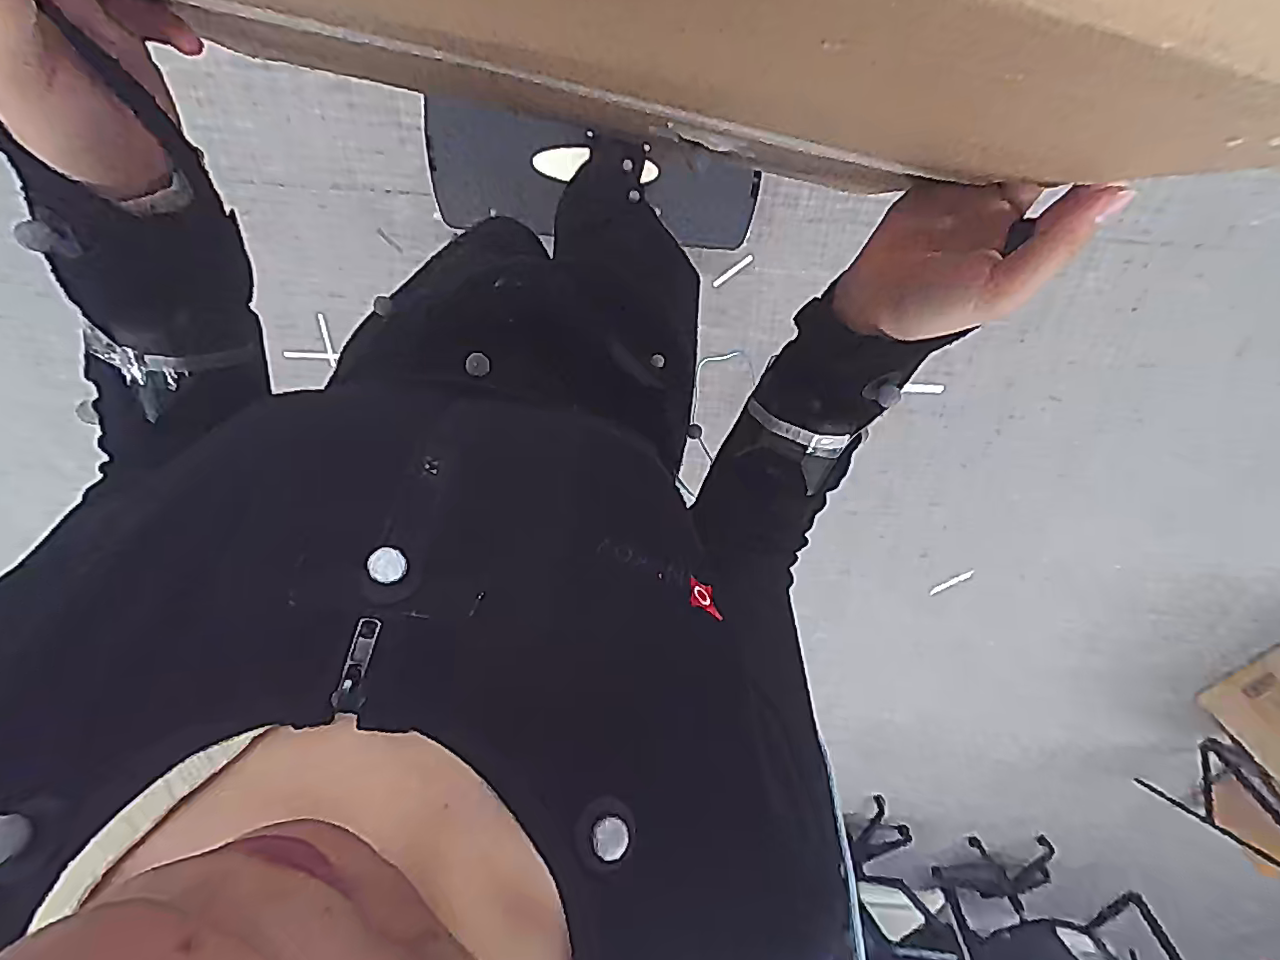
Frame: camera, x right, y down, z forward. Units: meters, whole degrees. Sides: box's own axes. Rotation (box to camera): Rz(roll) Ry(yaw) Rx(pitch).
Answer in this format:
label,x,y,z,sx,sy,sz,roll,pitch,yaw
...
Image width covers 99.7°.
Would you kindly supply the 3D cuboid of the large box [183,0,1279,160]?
label,x,y,z,sx,sy,sz,roll,pitch,yaw
large box,-0.001,-0.310,0.144,0.408,0.320,0.320,6,117,-9
